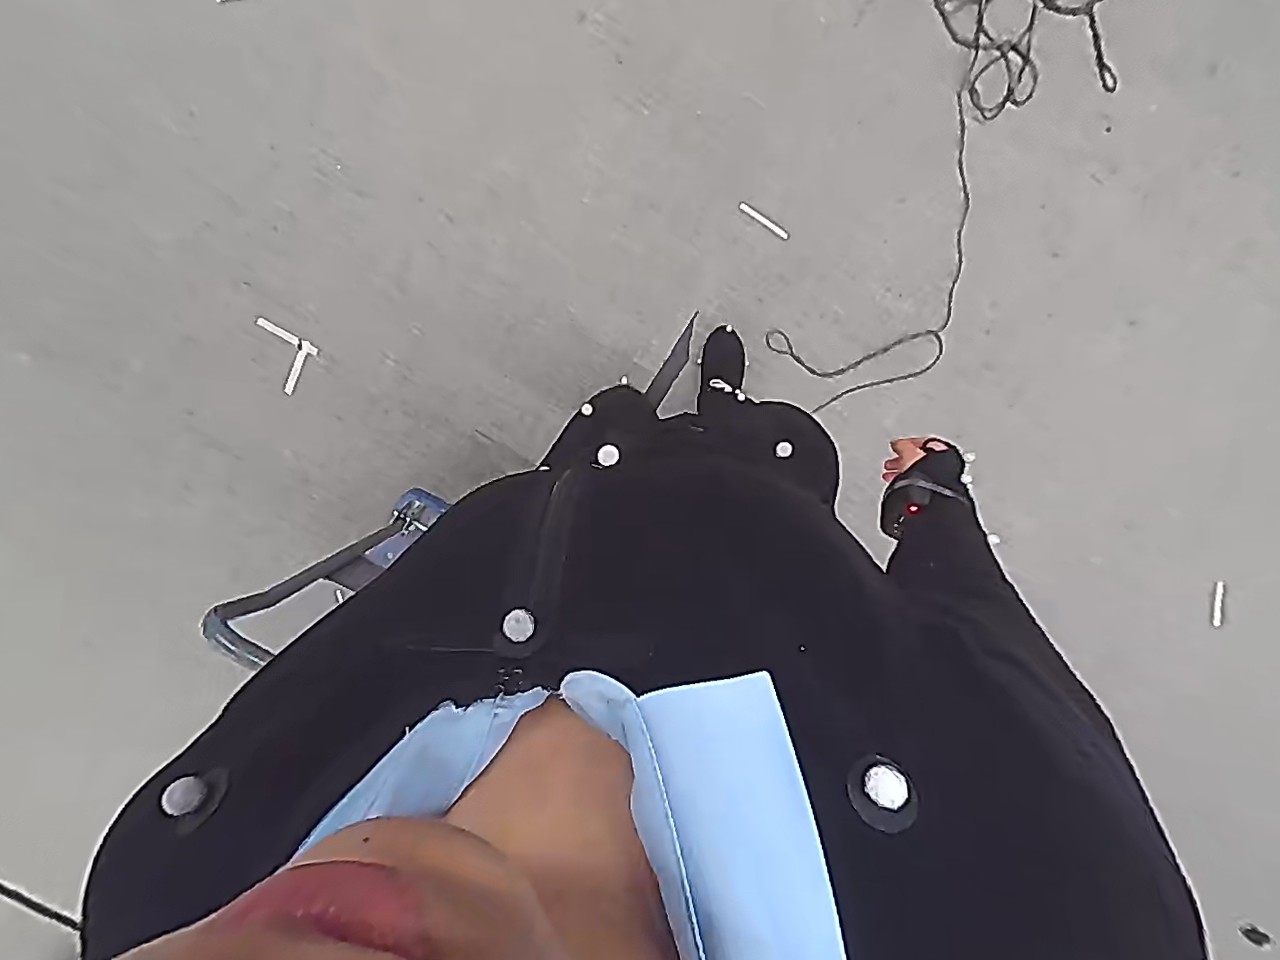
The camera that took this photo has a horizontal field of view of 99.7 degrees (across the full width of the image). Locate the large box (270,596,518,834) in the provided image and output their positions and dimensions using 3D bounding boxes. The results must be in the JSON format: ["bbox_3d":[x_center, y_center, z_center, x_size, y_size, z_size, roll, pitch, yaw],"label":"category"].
[{"bbox_3d":[-0.577,0.556,1.334,0.408,0.320,0.320,31,103,-6],"label":"large box"}]
